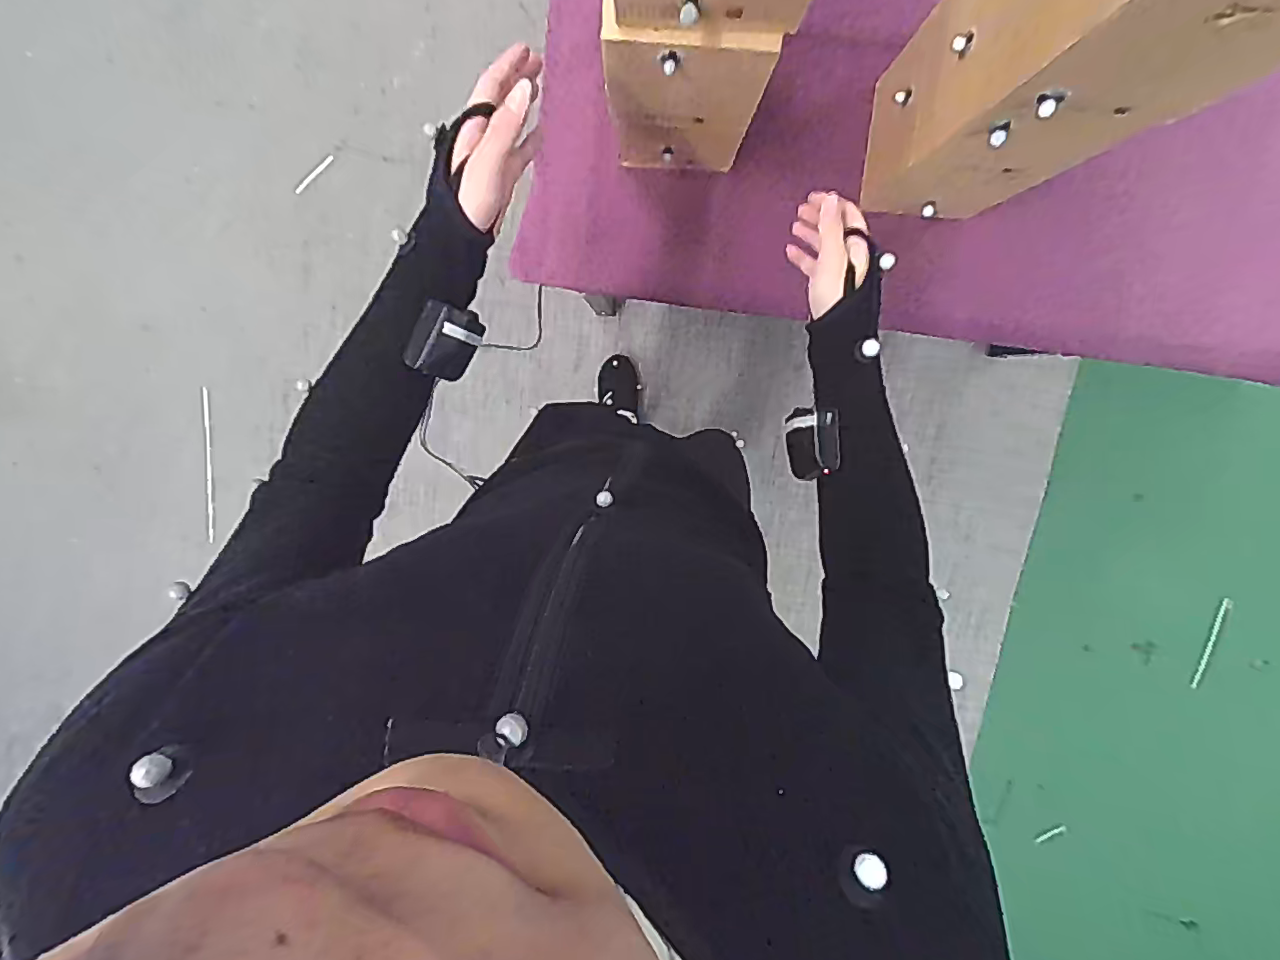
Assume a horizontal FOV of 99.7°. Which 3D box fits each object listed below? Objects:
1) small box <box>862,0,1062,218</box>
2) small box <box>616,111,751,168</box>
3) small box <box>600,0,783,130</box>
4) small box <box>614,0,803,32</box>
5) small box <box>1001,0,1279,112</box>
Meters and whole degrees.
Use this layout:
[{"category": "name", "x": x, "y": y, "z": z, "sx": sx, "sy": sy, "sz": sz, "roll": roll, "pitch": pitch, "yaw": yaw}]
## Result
[{"category": "small box", "x": 0.411, "y": -0.467, "z": 0.708, "sx": 0.168, "sy": 0.176, "sz": 0.179, "roll": 5, "pitch": 101, "yaw": 0}, {"category": "small box", "x": 0.054, "y": -0.534, "z": 0.701, "sx": 0.168, "sy": 0.176, "sz": 0.179, "roll": 2, "pitch": 101, "yaw": 0}, {"category": "small box", "x": 0.051, "y": -0.490, "z": 0.544, "sx": 0.168, "sy": 0.176, "sz": 0.179, "roll": 4, "pitch": 102, "yaw": 0}, {"category": "small box", "x": 0.058, "y": -0.469, "z": 0.380, "sx": 0.168, "sy": 0.176, "sz": 0.179, "roll": 2, "pitch": 102, "yaw": 0}, {"category": "small box", "x": 0.400, "y": -0.399, "z": 0.387, "sx": 0.168, "sy": 0.176, "sz": 0.179, "roll": 4, "pitch": 100, "yaw": 0}]
